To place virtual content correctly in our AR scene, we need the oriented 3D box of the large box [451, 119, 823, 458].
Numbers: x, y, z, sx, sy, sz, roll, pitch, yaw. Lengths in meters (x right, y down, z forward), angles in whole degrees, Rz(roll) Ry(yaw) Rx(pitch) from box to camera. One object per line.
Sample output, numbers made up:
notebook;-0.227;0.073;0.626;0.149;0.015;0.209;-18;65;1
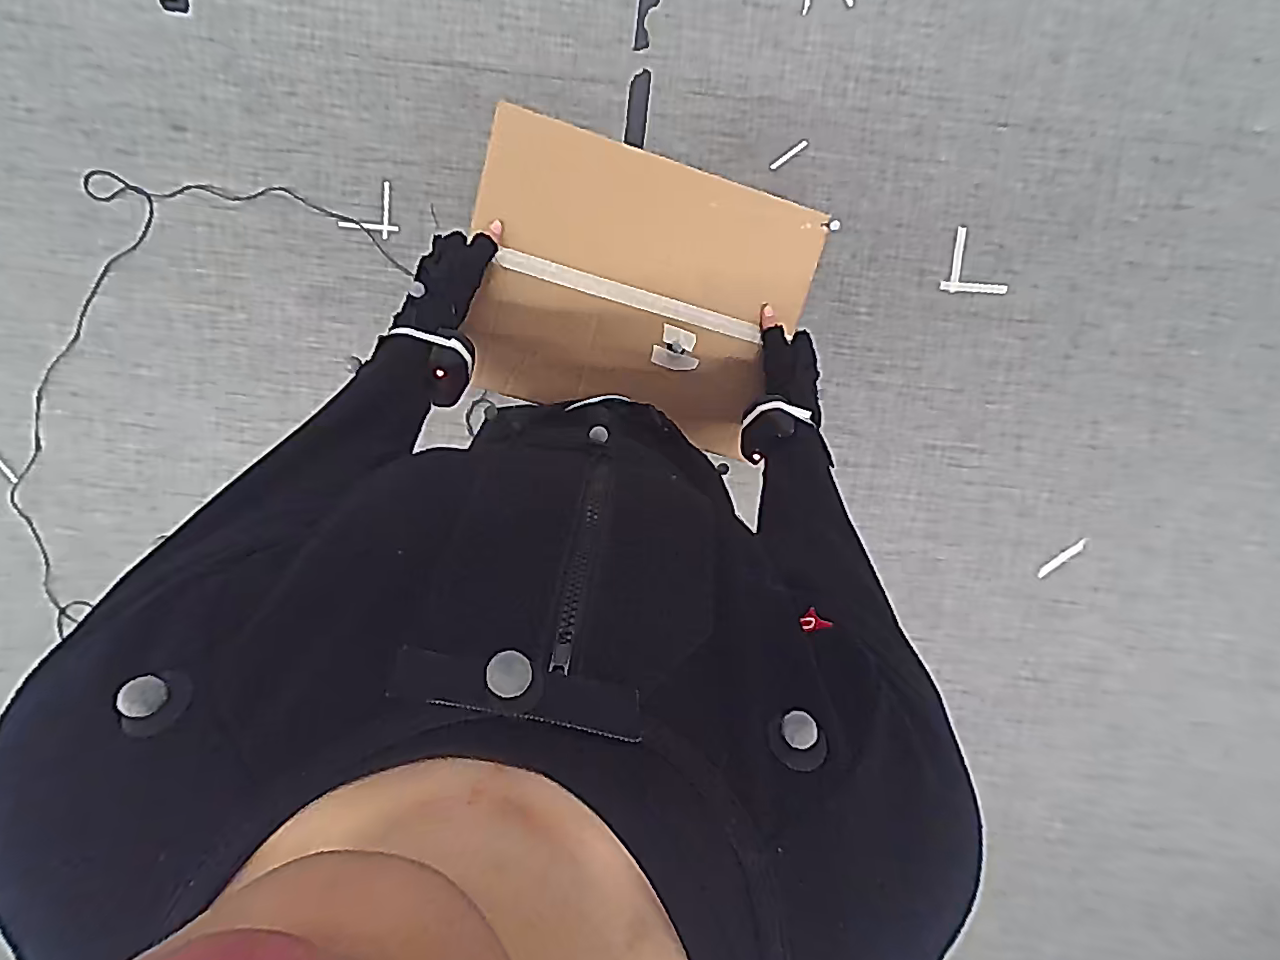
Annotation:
large box;-0.018;-0.250;0.807;0.408;0.320;0.320;15;102;-8
